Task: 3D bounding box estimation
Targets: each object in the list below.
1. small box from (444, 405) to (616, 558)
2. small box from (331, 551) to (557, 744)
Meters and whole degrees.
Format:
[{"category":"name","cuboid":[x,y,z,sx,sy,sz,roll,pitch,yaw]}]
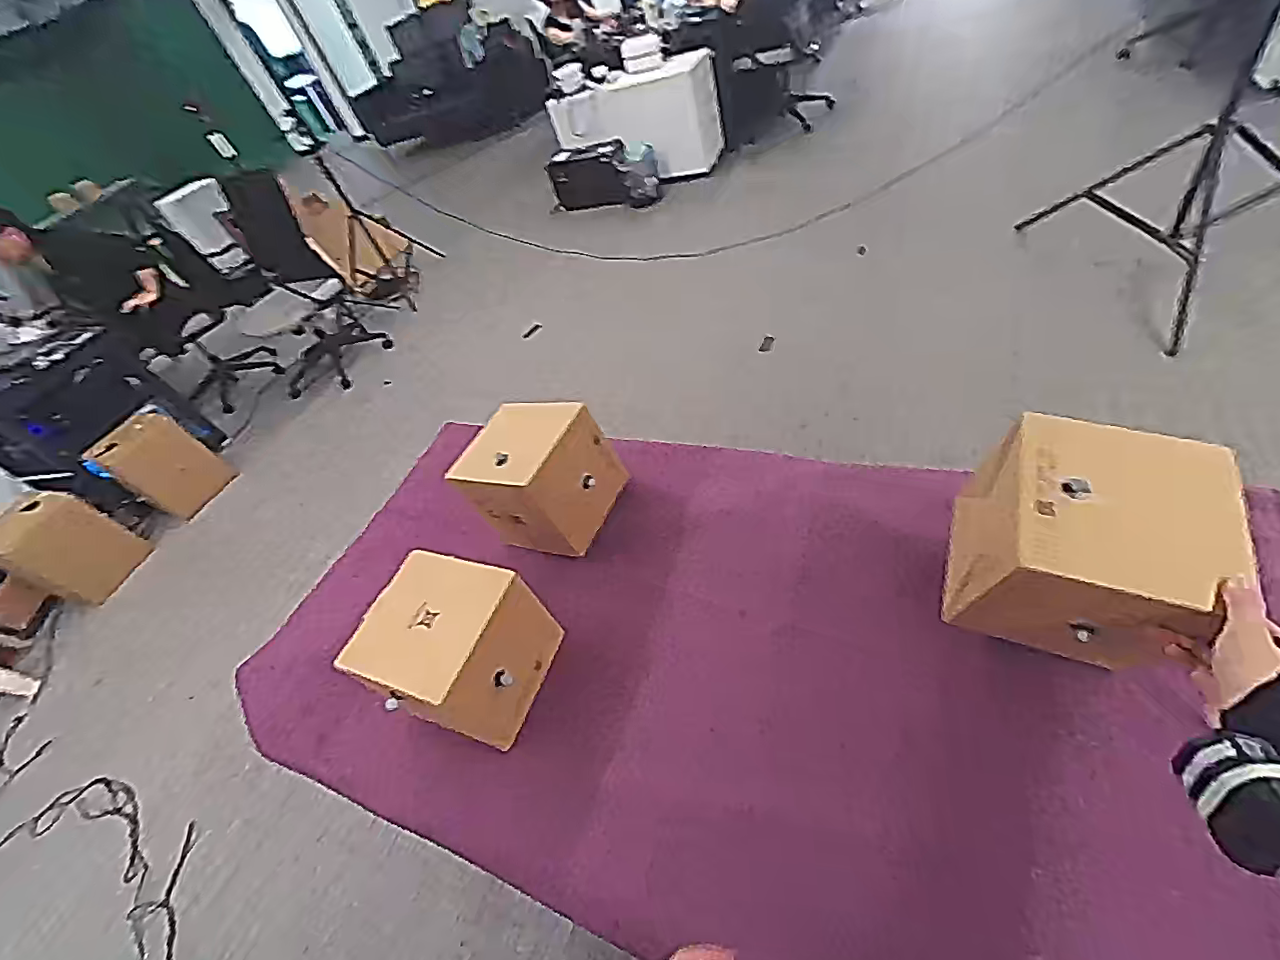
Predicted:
[{"category":"small box","cuboid":[-0.156,-0.003,0.840,0.179,0.168,0.176,5,50,34]},{"category":"small box","cuboid":[-0.233,0.216,0.691,0.179,0.176,0.168,6,52,26]}]
